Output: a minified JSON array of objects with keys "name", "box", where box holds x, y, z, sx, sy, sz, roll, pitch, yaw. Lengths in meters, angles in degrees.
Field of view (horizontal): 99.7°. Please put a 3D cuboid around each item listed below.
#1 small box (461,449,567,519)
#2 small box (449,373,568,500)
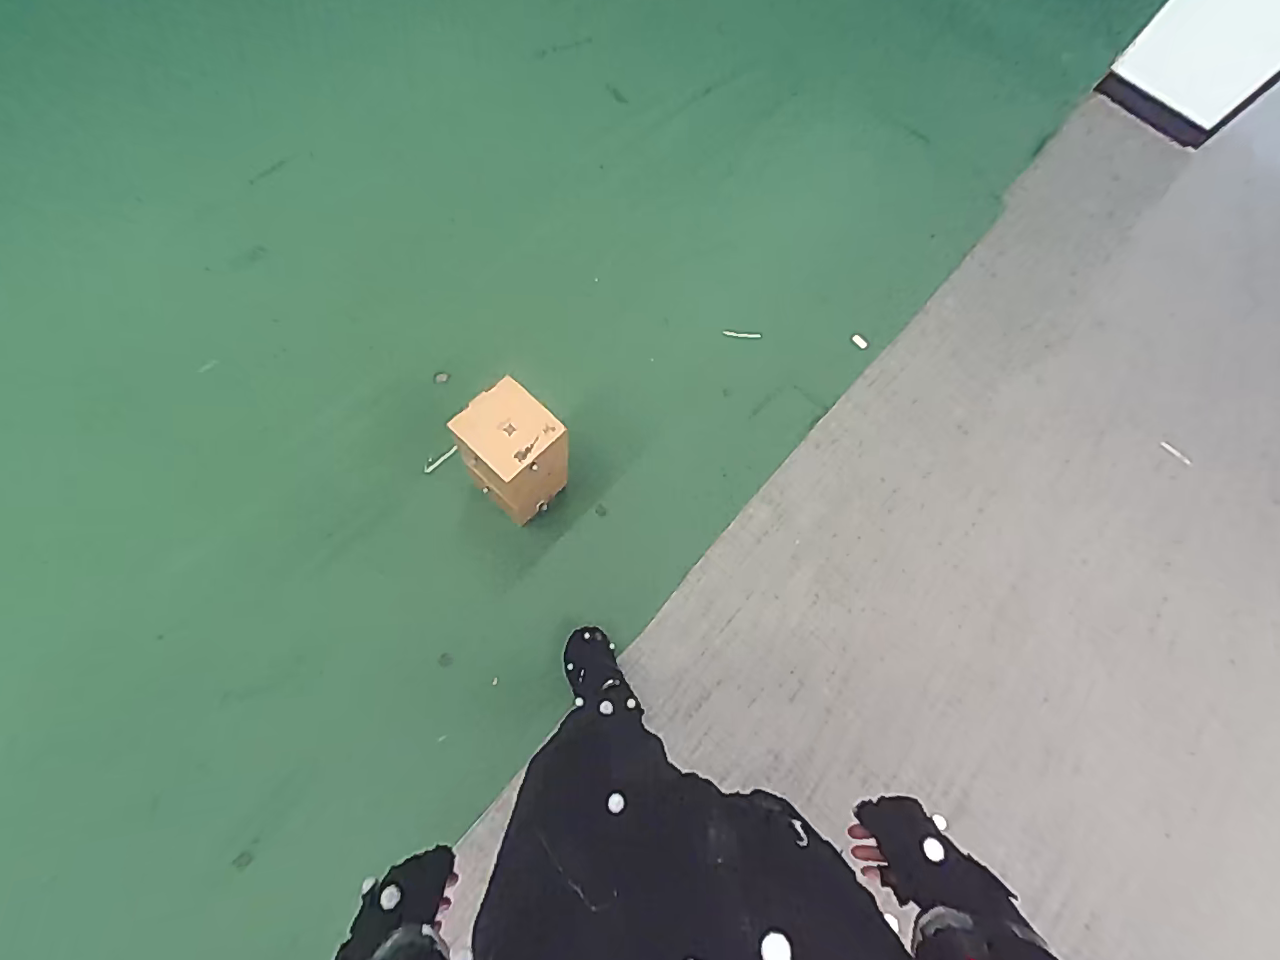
[{"name":"small box","box":[-0.290,-0.032,1.280,0.179,0.176,0.168,44,73,8]},{"name":"small box","box":[-0.271,-0.084,1.146,0.179,0.176,0.168,42,71,9]}]
